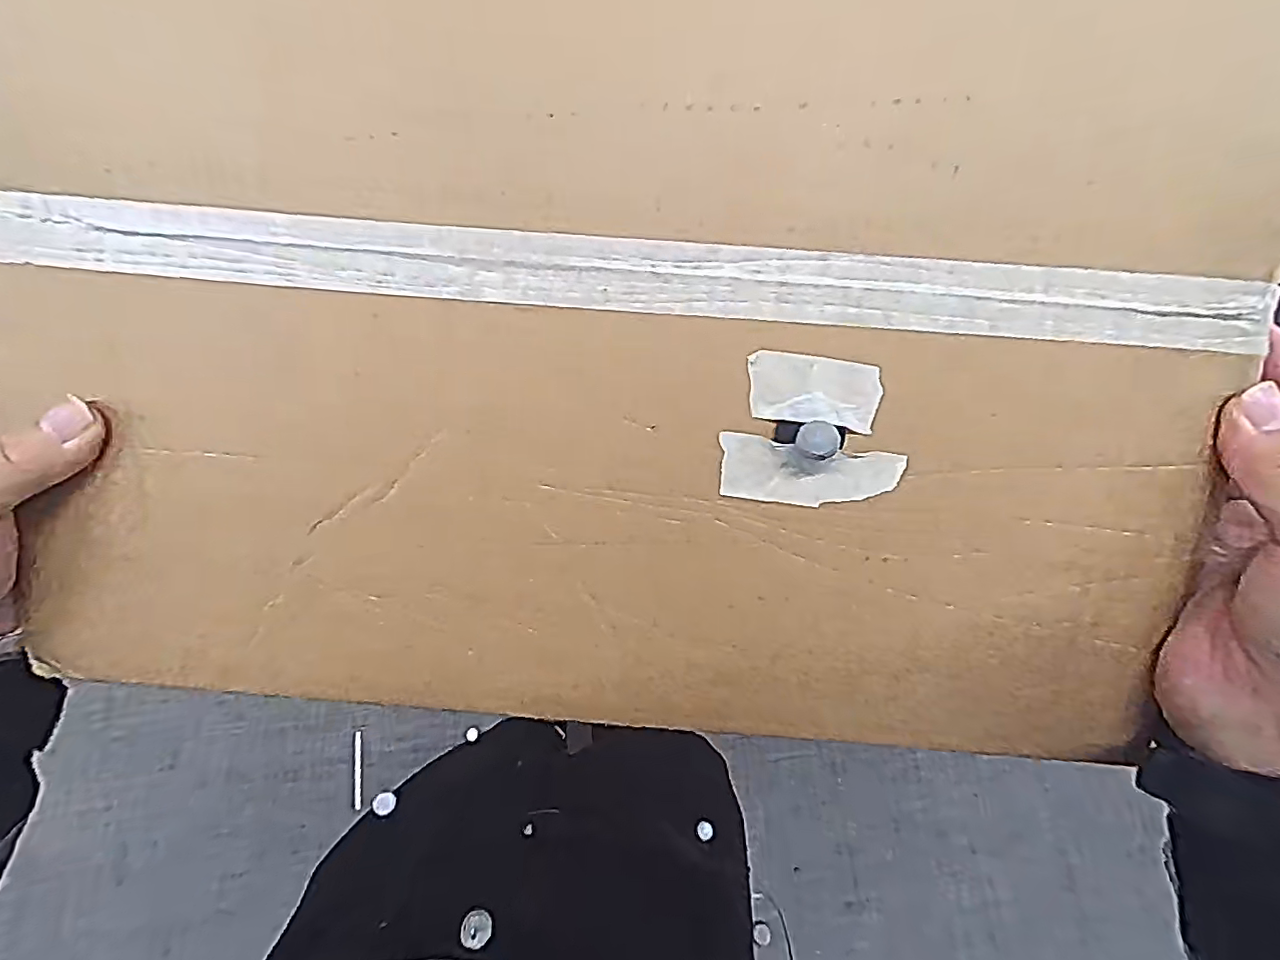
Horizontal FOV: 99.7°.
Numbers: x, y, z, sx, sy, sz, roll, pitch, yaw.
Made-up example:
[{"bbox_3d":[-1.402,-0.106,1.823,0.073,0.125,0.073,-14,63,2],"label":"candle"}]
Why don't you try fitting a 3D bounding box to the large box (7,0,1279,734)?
[{"bbox_3d":[-0.002,-0.089,0.327,0.408,0.320,0.320,4,102,0],"label":"large box"}]
